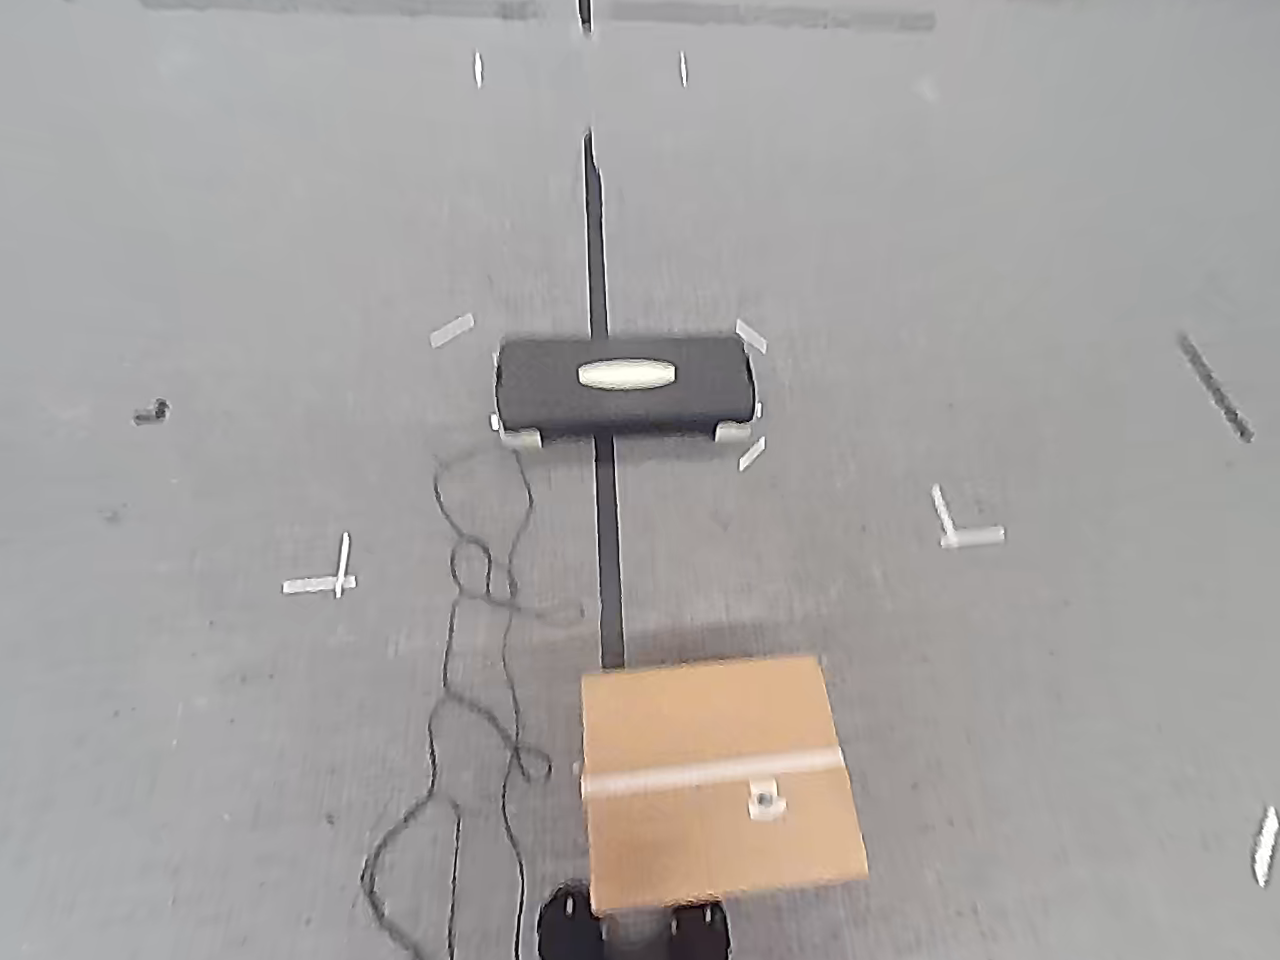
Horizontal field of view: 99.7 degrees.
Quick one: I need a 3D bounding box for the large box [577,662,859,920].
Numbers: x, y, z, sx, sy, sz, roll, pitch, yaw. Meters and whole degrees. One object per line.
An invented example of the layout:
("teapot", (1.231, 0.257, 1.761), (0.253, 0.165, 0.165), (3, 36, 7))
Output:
("large box", (0.100, 0.527, 0.968), (0.408, 0.320, 0.320), (-3, 64, -7))
